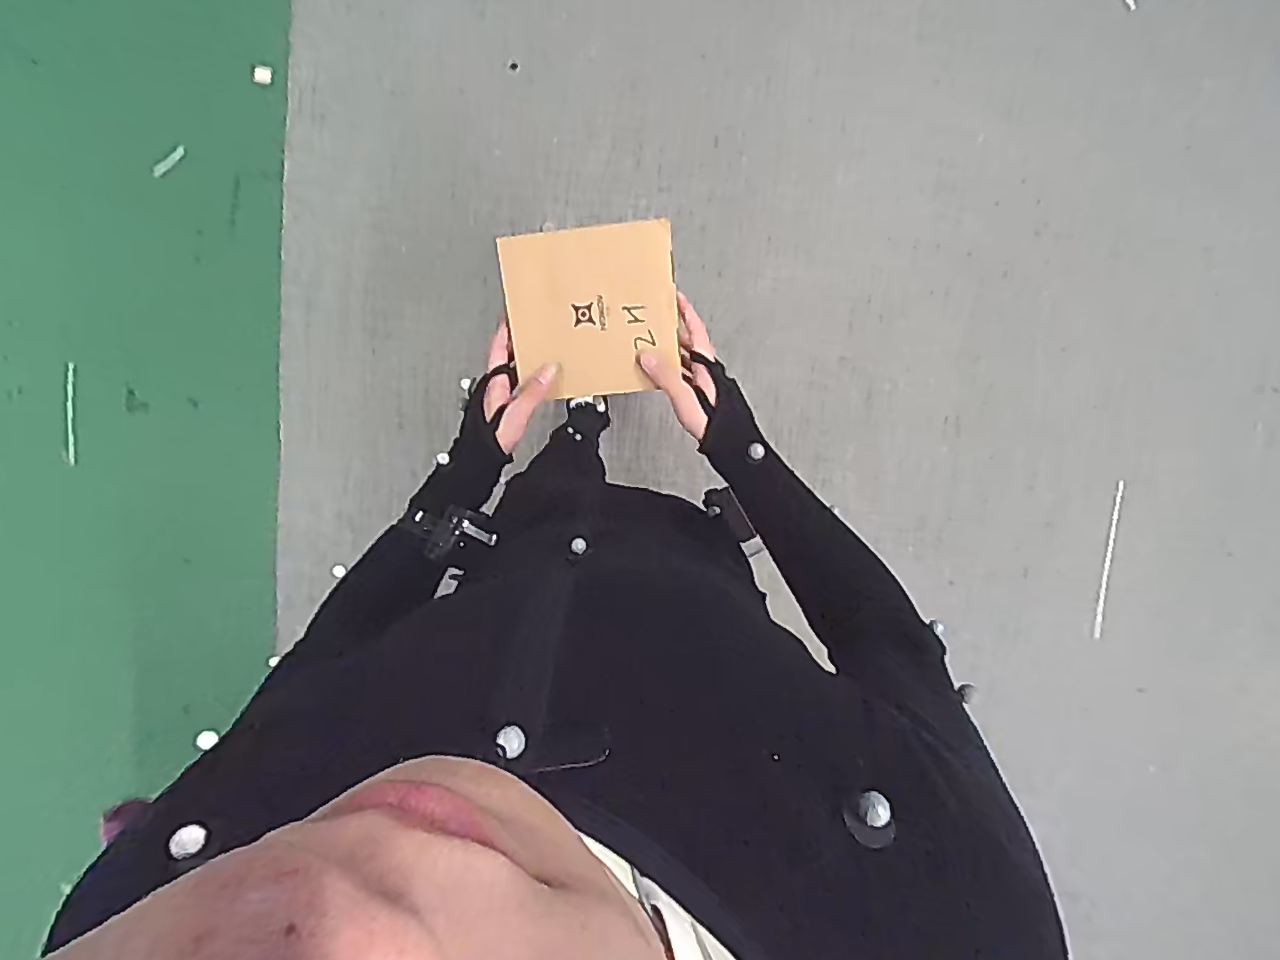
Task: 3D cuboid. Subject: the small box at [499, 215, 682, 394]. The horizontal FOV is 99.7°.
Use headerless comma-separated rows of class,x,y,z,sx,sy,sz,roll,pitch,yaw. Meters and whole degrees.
small box,-0.044,-0.193,0.622,0.179,0.176,0.168,-4,105,3
